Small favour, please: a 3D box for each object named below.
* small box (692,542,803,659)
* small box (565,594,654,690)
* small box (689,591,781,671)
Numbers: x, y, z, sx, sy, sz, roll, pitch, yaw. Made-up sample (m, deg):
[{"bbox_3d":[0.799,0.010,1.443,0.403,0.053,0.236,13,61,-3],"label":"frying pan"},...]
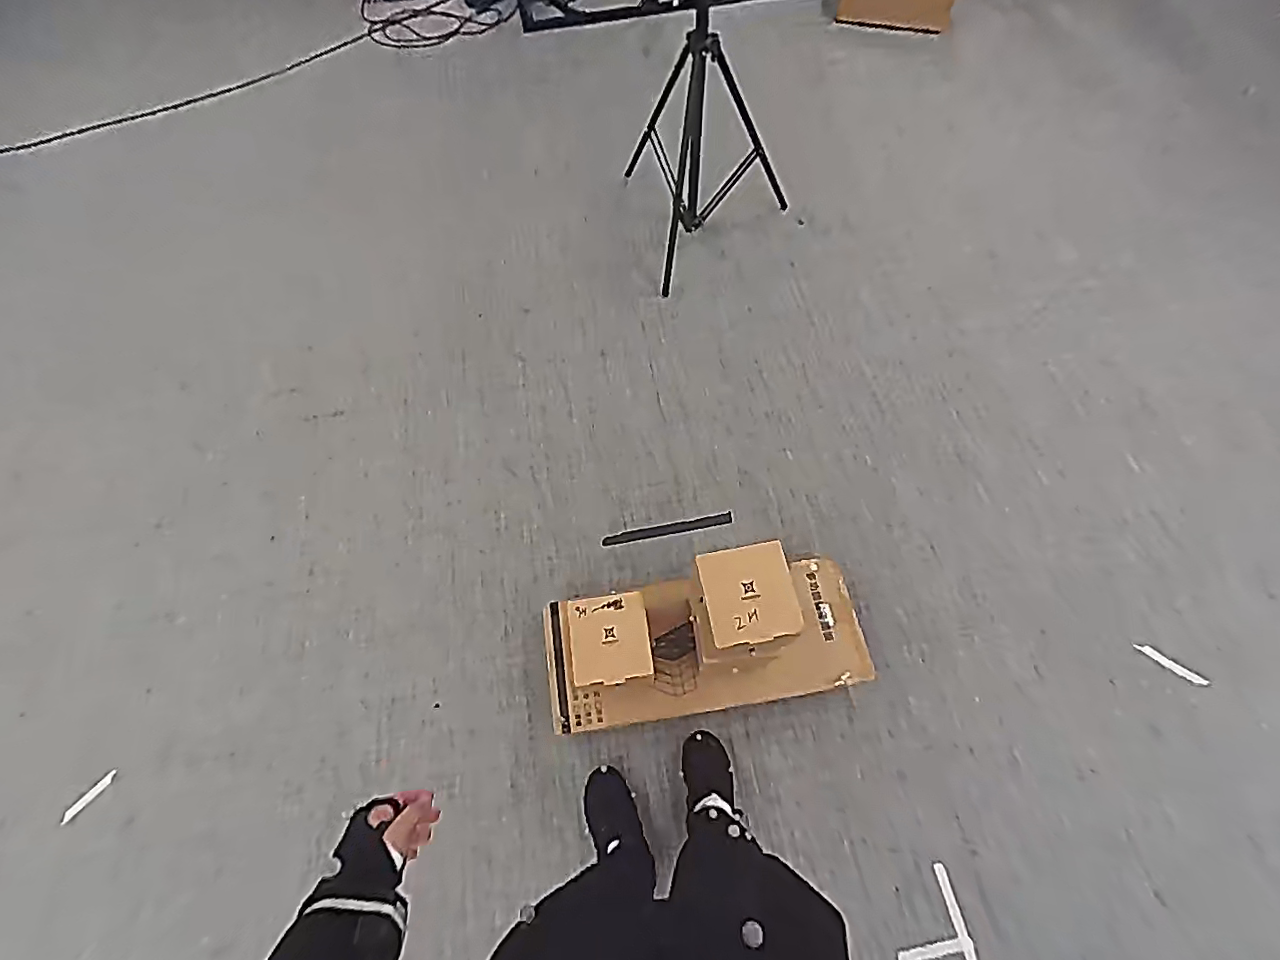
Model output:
[{"bbox_3d":[0.199,0.240,1.061,0.168,0.176,0.179,-10,66,-2],"label":"small box"},{"bbox_3d":[-0.063,0.363,1.197,0.168,0.176,0.179,-9,67,0],"label":"small box"},{"bbox_3d":[0.203,0.322,1.206,0.168,0.176,0.179,-6,67,0],"label":"small box"}]
